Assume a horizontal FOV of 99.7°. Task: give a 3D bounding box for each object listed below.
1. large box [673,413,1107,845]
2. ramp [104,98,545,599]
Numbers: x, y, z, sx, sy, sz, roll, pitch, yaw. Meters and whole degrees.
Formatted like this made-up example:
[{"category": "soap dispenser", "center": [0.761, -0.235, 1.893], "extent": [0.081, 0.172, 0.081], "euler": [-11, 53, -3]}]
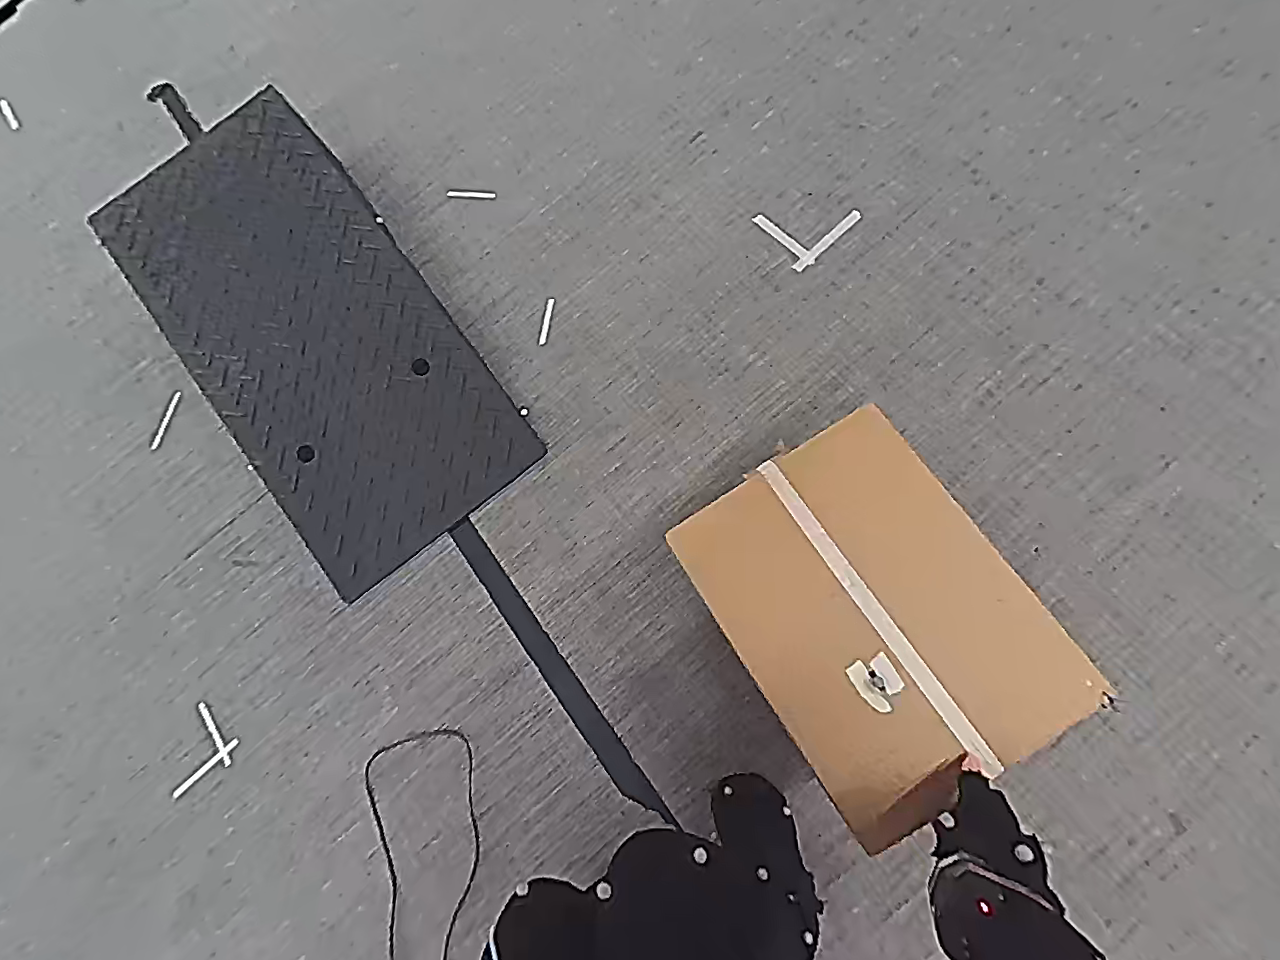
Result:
[{"category": "large box", "center": [0.289, 0.186, 0.772], "extent": [0.320, 0.320, 0.408], "euler": [-33, 73, 0]}, {"category": "ramp", "center": [-0.668, -0.299, 1.124], "extent": [0.509, 0.206, 0.991], "euler": [-39, 73, -2]}]
